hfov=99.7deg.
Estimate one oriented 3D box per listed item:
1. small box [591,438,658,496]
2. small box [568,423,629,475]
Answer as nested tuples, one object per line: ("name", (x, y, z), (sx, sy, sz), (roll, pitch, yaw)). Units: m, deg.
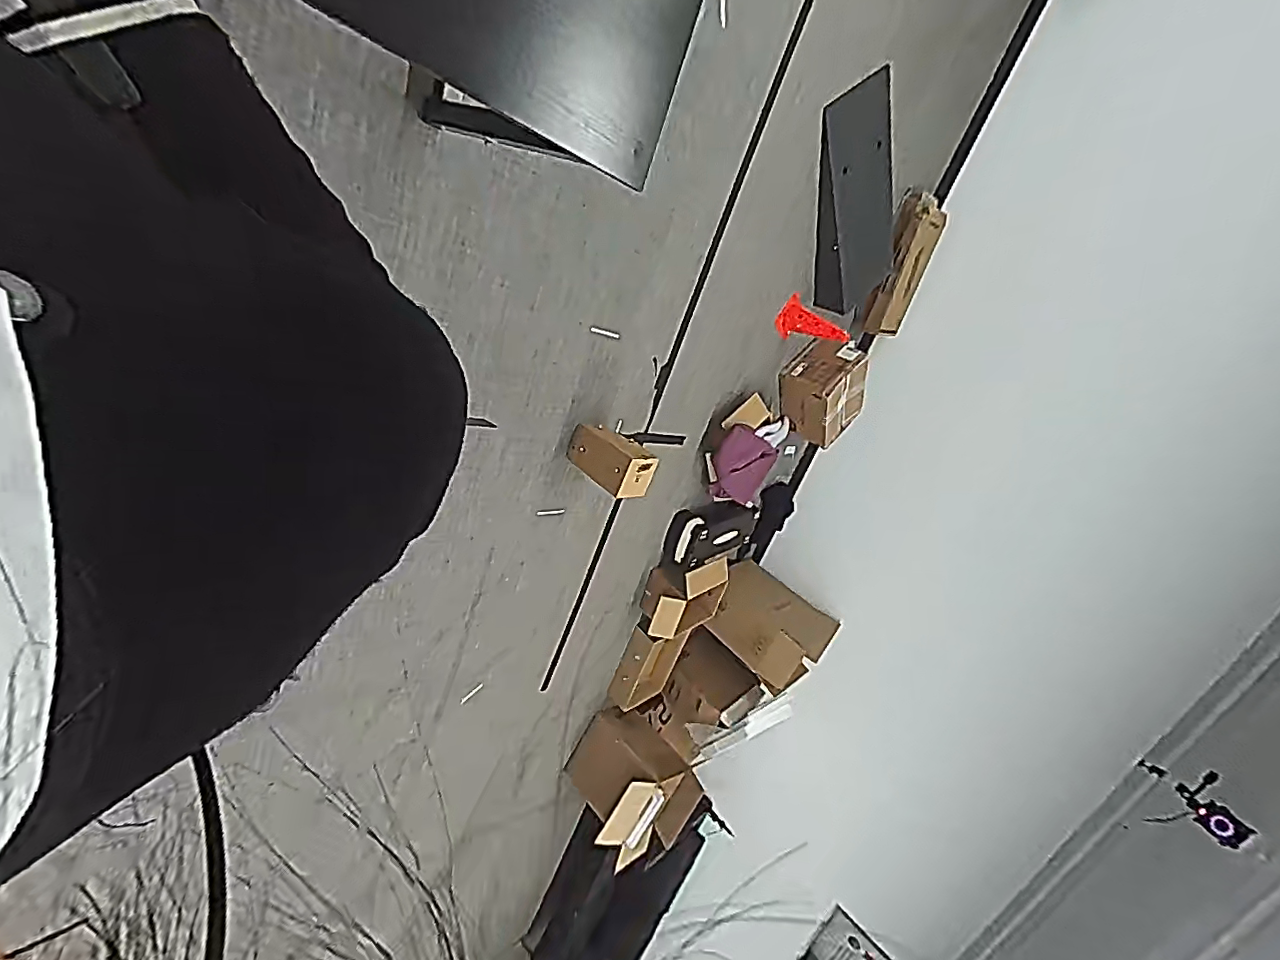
("small box", (-0.065, -0.054, 2.124), (0.168, 0.176, 0.179), (-3, 122, -49))
("small box", (-0.171, -0.127, 2.231), (0.179, 0.176, 0.168), (0, 119, -50))
